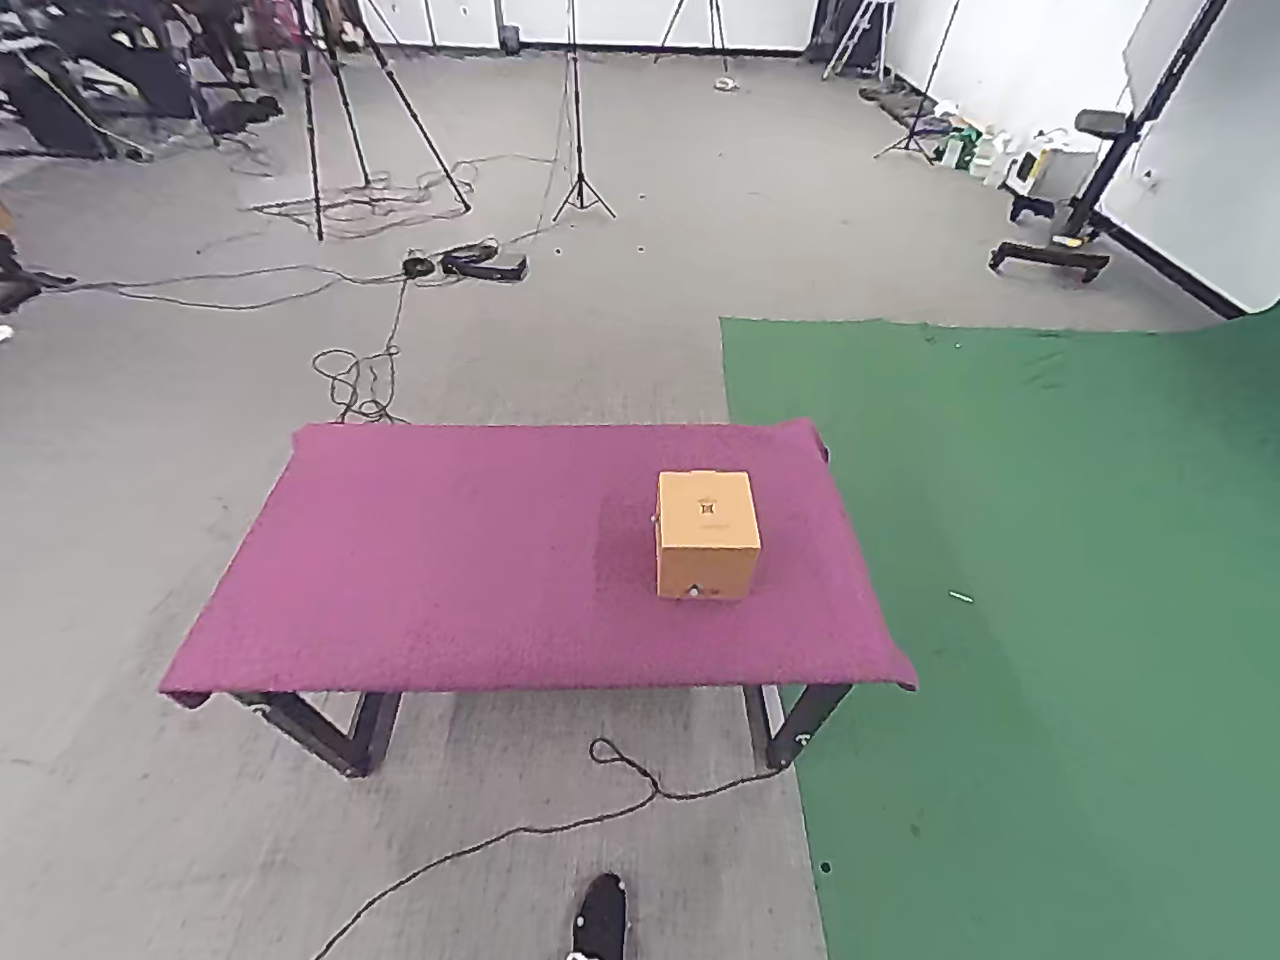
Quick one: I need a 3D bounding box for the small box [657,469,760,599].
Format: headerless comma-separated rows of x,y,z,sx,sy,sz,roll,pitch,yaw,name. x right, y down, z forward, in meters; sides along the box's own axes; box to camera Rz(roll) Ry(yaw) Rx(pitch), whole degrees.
0.116,0.099,0.993,0.168,0.176,0.179,0,47,1,small box
